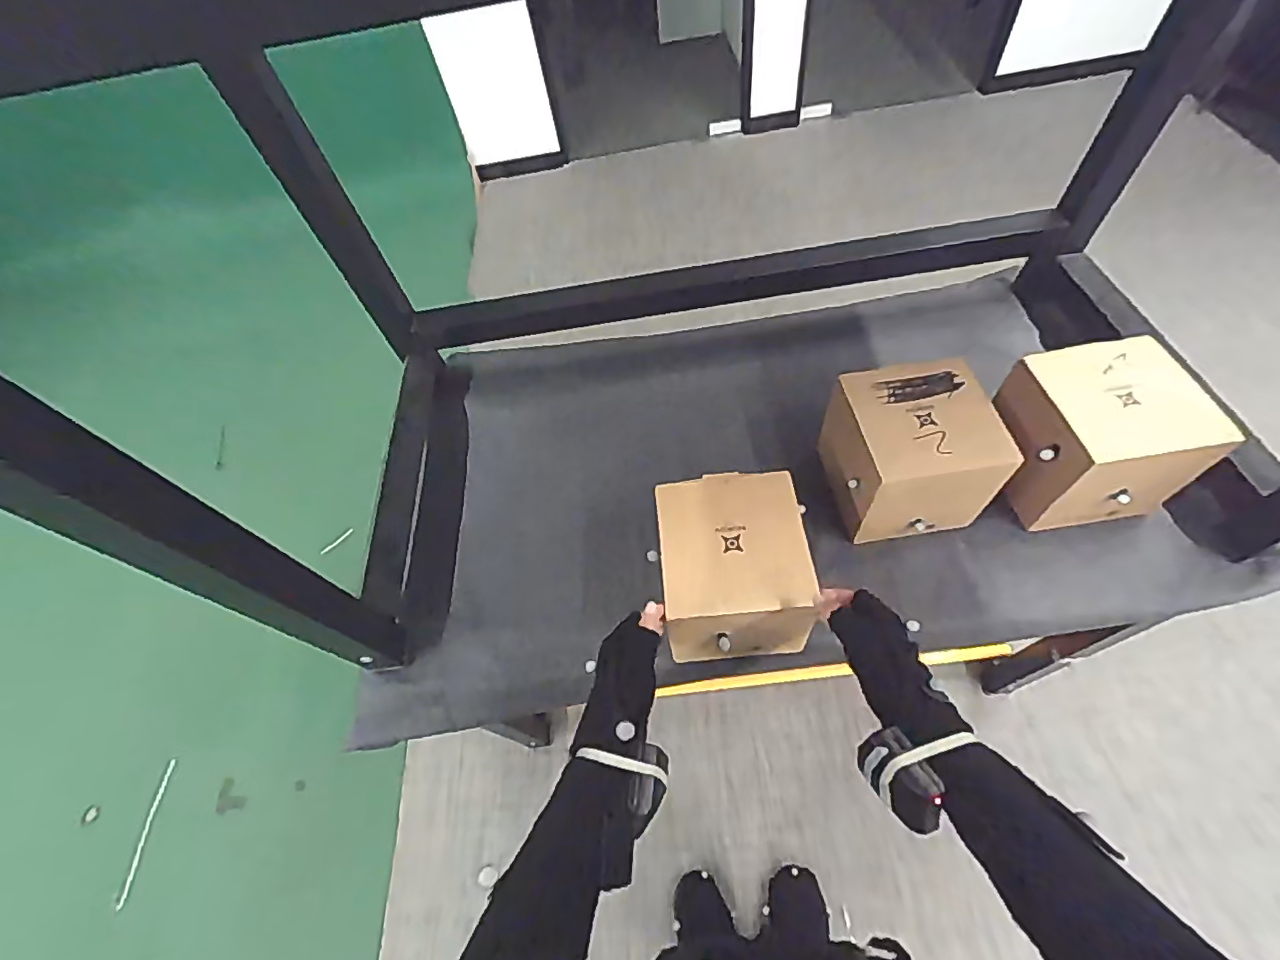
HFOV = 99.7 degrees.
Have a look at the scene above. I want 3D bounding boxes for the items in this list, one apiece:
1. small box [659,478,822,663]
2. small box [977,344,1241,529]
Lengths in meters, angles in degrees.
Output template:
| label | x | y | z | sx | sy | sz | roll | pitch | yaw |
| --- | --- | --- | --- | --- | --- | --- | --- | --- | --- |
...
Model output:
| label | x | y | z | sx | sy | sz | roll | pitch | yaw |
| --- | --- | --- | --- | --- | --- | --- | --- | --- | --- |
| small box | 0.117 | 0.122 | 0.680 | 0.168 | 0.176 | 0.179 | -6 | 55 | 4 |
| small box | 0.593 | -0.048 | 0.718 | 0.168 | 0.176 | 0.179 | -9 | 56 | 2 |
